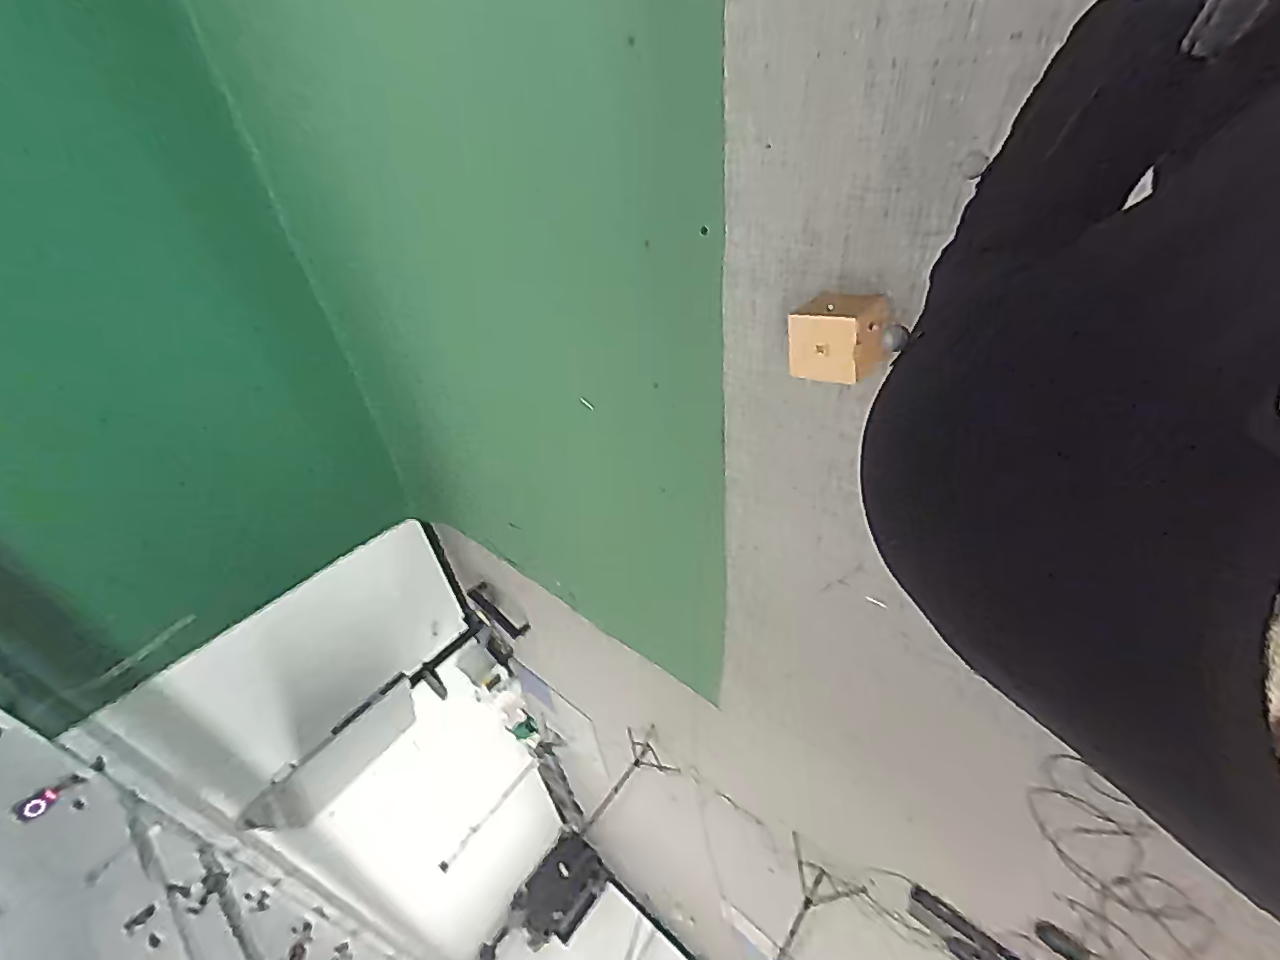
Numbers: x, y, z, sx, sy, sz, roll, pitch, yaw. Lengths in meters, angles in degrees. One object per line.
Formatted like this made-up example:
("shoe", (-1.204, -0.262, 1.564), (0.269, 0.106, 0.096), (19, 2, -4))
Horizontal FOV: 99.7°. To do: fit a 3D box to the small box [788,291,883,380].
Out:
("small box", (0.491, -0.368, 1.354), (0.179, 0.176, 0.168), (18, 132, 39))
